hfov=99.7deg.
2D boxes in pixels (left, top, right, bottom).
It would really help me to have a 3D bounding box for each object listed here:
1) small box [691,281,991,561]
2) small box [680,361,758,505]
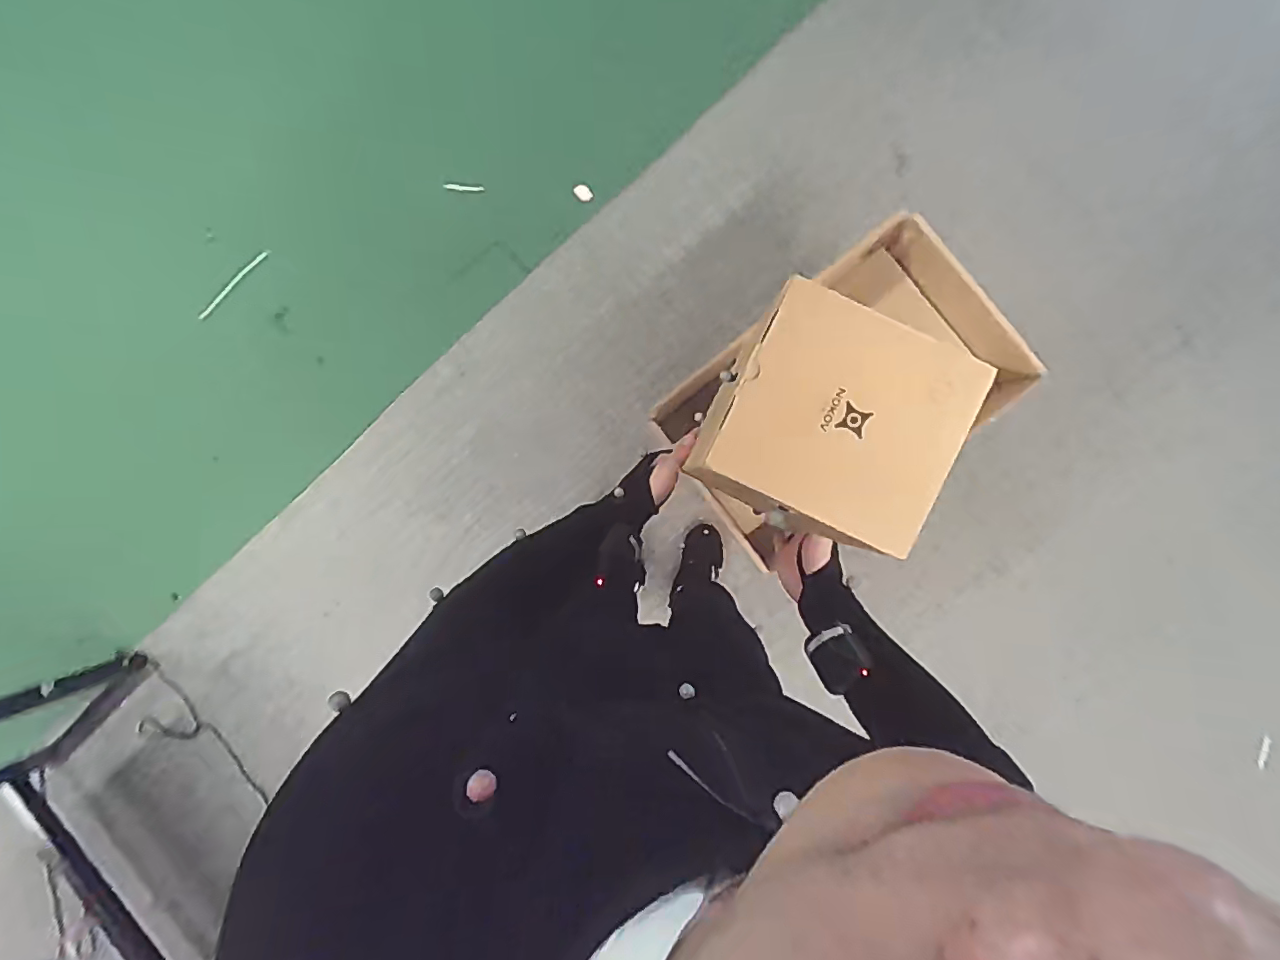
[{"bbox_3d":[0.160,-0.047,0.495,0.179,0.176,0.168,25,91,2],"label":"small box"},{"bbox_3d":[0.174,-0.059,0.821,0.179,0.176,0.168,26,90,2],"label":"small box"}]
